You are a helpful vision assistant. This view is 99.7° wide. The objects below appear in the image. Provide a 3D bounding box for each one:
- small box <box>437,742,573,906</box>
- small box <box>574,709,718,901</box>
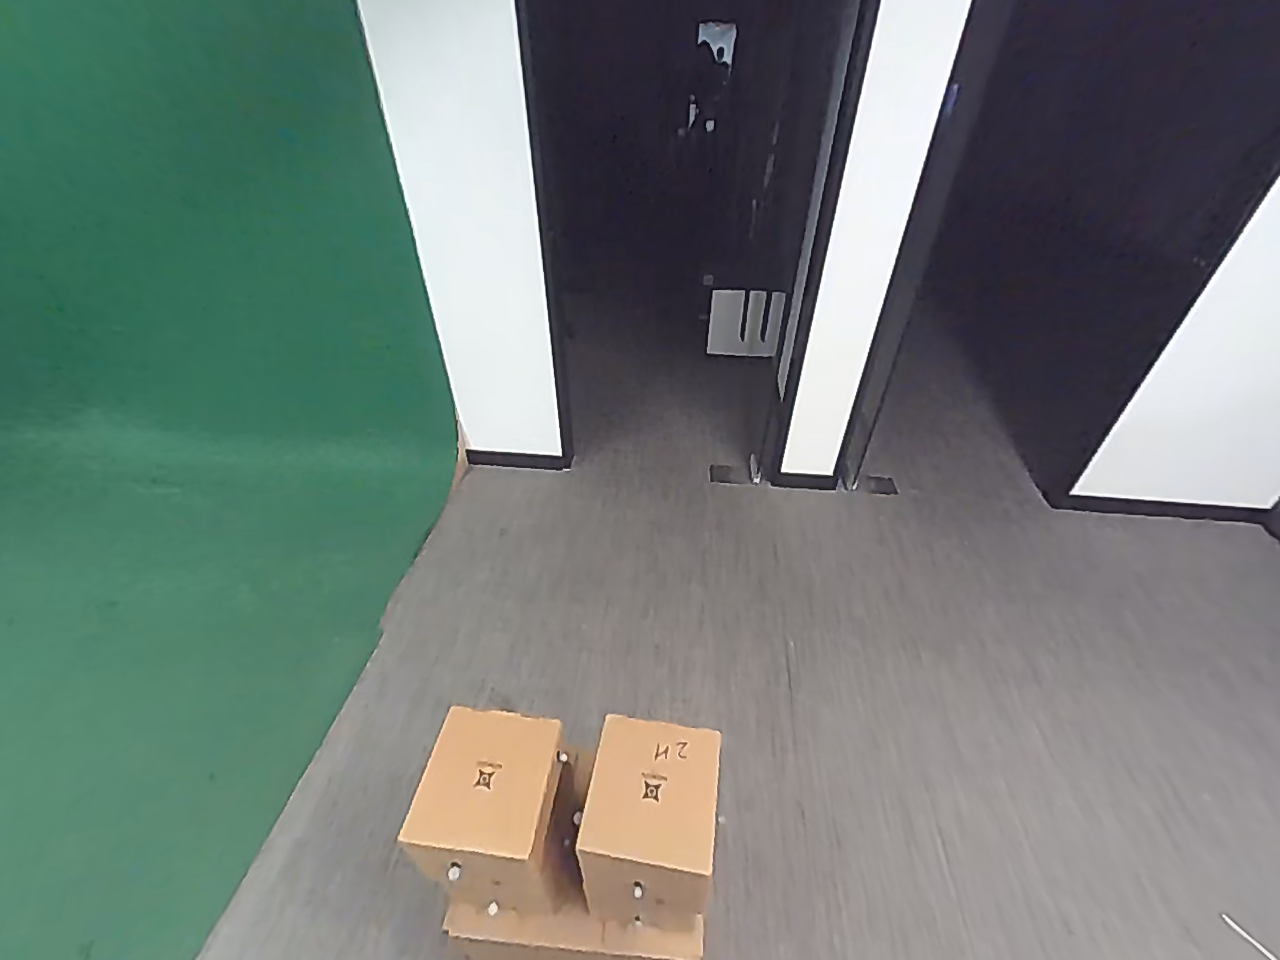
[{"bbox_3d":[-0.209,0.567,0.894,0.168,0.176,0.179,6,42,5],"label":"small box"},{"bbox_3d":[0.017,0.459,0.764,0.168,0.176,0.179,7,41,9],"label":"small box"}]
